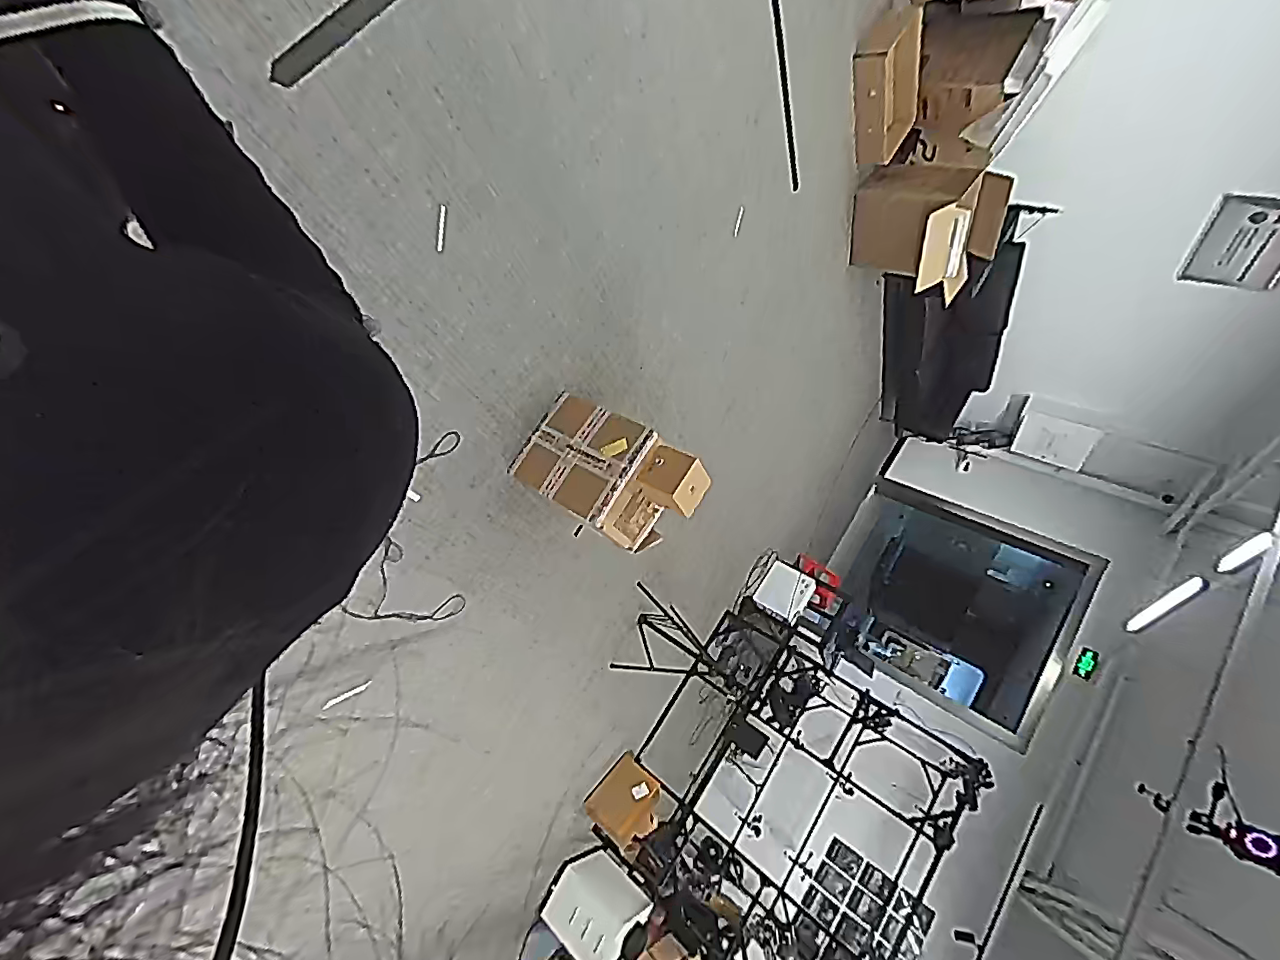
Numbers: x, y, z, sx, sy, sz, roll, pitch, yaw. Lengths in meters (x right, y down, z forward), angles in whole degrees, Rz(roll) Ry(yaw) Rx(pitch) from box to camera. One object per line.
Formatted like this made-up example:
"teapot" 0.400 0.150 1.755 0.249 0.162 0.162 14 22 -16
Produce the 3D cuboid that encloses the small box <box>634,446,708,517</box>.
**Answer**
"small box" 0.110 0.000 1.927 0.168 0.176 0.179 -57 142 -14
